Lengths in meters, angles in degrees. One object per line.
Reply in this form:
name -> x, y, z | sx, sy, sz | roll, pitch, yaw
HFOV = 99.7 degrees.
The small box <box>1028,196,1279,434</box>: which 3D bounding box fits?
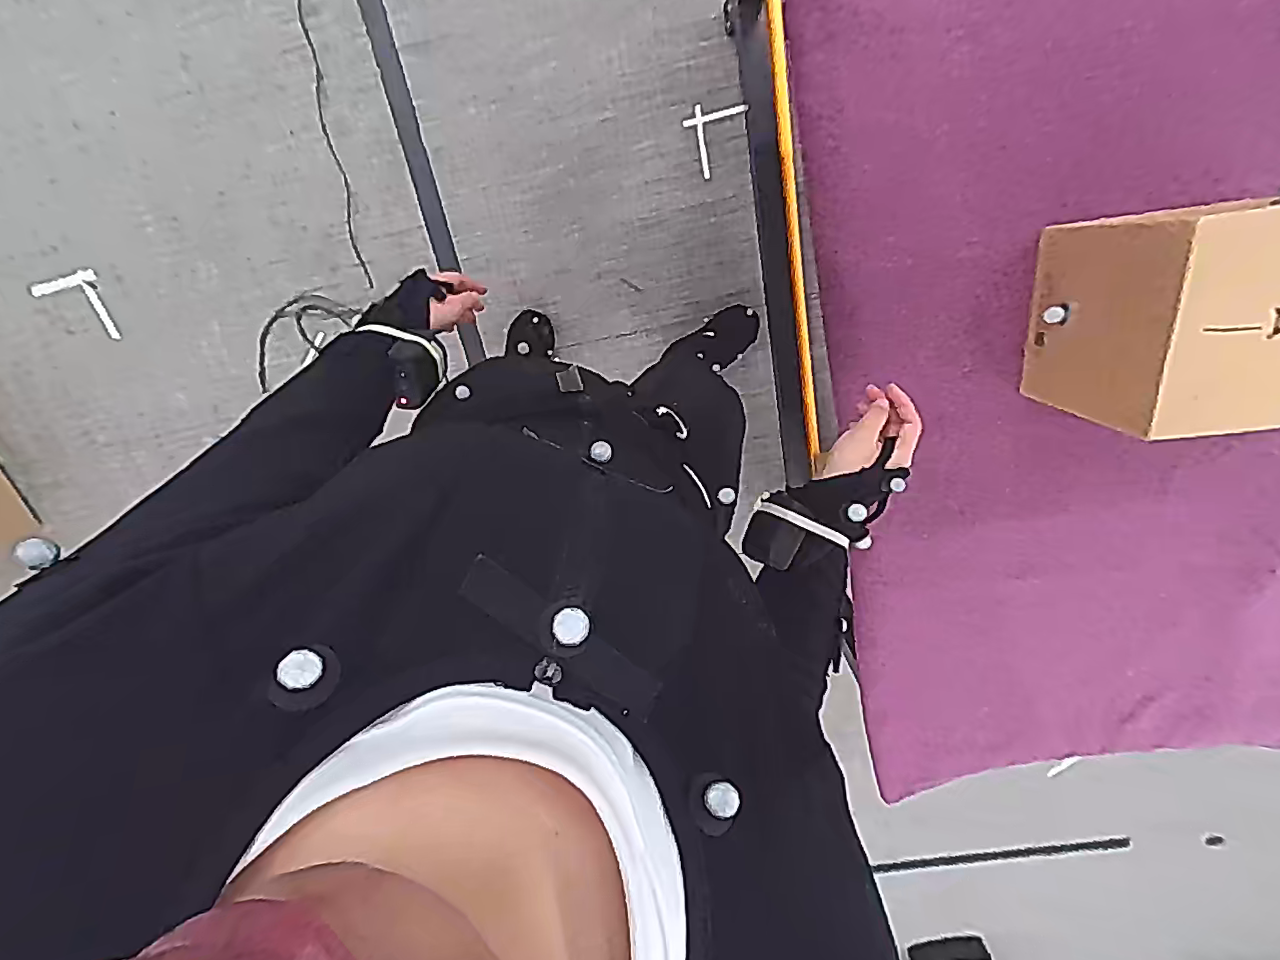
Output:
small box -> 0.487, -0.149, 0.466 | 0.179, 0.176, 0.168 | -6, 111, 4
